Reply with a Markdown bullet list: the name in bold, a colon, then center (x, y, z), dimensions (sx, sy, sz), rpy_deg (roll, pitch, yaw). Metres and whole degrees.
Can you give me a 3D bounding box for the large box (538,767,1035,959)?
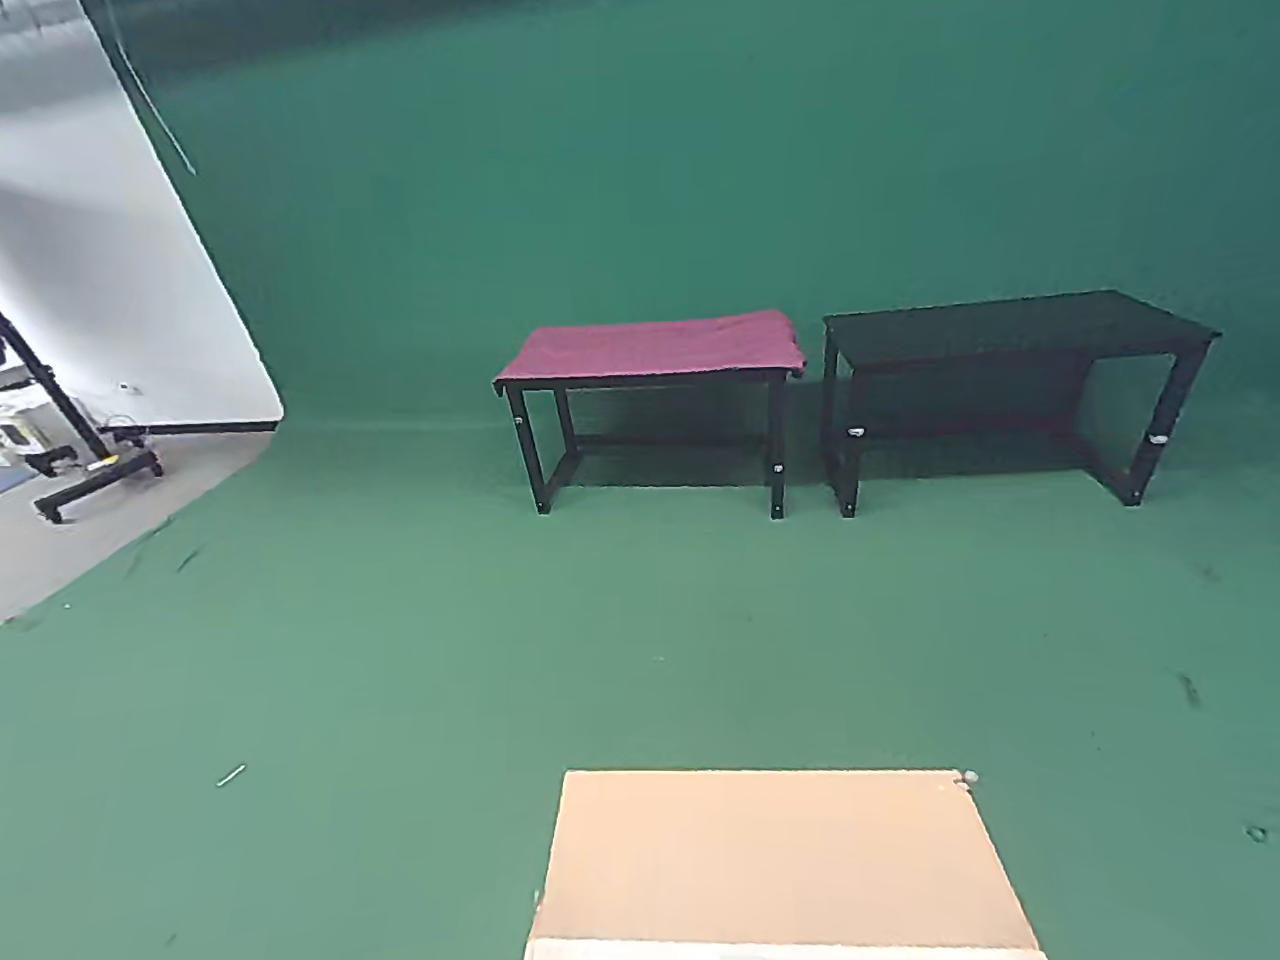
- **large box**: center (0.123, 0.510, 0.514), dimensions (0.408, 0.320, 0.320), rpy_deg (-2, 31, 5)
